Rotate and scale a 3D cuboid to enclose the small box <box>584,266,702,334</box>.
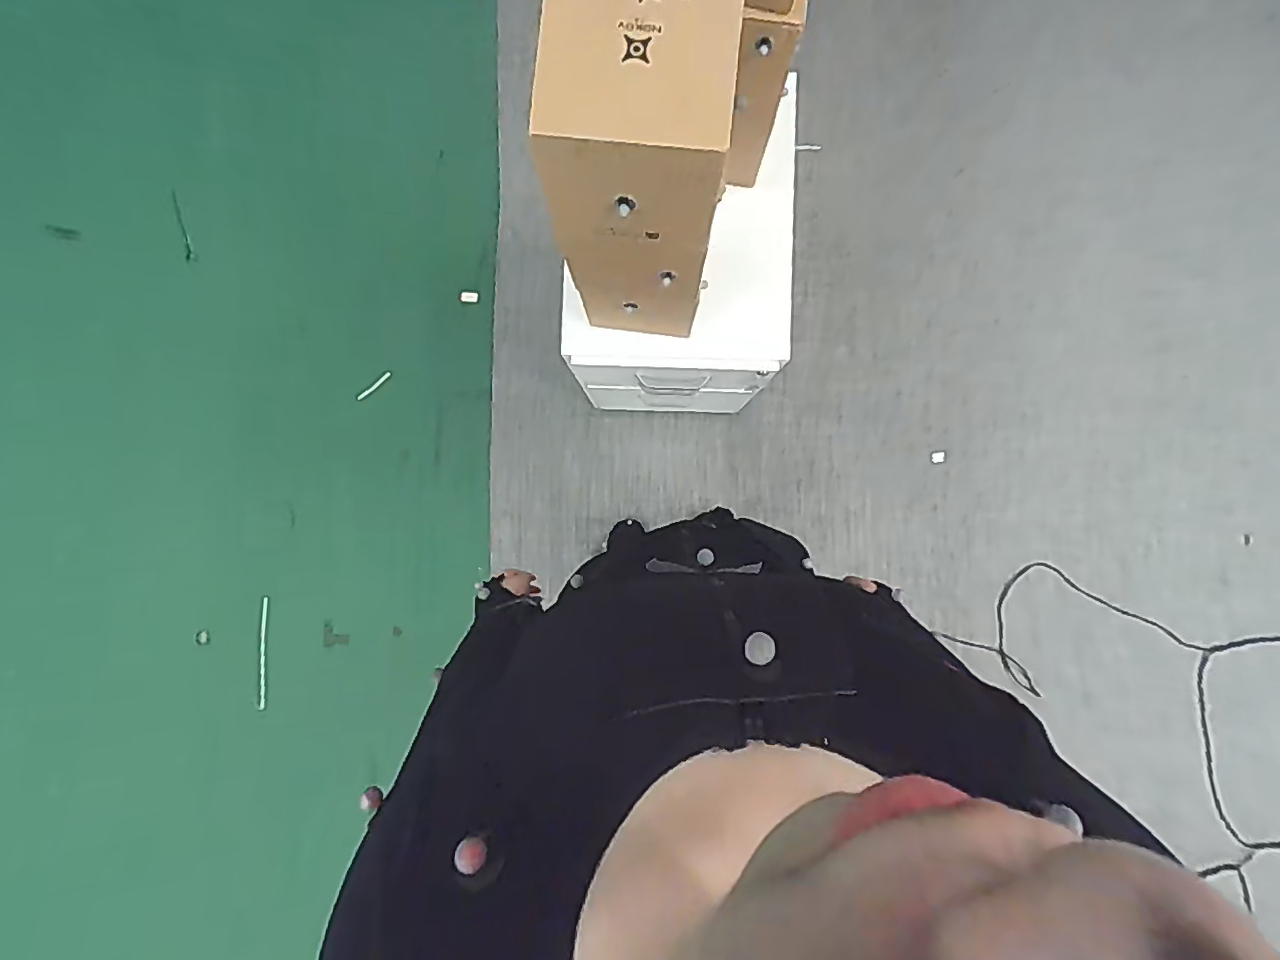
[{"bbox_3d":[0.007,-0.342,0.850,0.179,0.176,0.168,8,88,0],"label":"small box"}]

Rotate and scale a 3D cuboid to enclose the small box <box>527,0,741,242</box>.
[{"bbox_3d":[-0.002,-0.356,0.523,0.168,0.176,0.179,6,86,0],"label":"small box"}]

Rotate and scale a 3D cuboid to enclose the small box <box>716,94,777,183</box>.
[{"bbox_3d":[0.120,-0.602,0.857,0.179,0.176,0.168,9,89,2],"label":"small box"}]

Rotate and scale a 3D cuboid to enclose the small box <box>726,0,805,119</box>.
[{"bbox_3d":[0.111,-0.604,0.694,0.179,0.176,0.168,8,88,1],"label":"small box"}]

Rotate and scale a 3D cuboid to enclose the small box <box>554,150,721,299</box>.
[{"bbox_3d":[0.001,-0.345,0.688,0.179,0.176,0.168,7,87,2],"label":"small box"}]
